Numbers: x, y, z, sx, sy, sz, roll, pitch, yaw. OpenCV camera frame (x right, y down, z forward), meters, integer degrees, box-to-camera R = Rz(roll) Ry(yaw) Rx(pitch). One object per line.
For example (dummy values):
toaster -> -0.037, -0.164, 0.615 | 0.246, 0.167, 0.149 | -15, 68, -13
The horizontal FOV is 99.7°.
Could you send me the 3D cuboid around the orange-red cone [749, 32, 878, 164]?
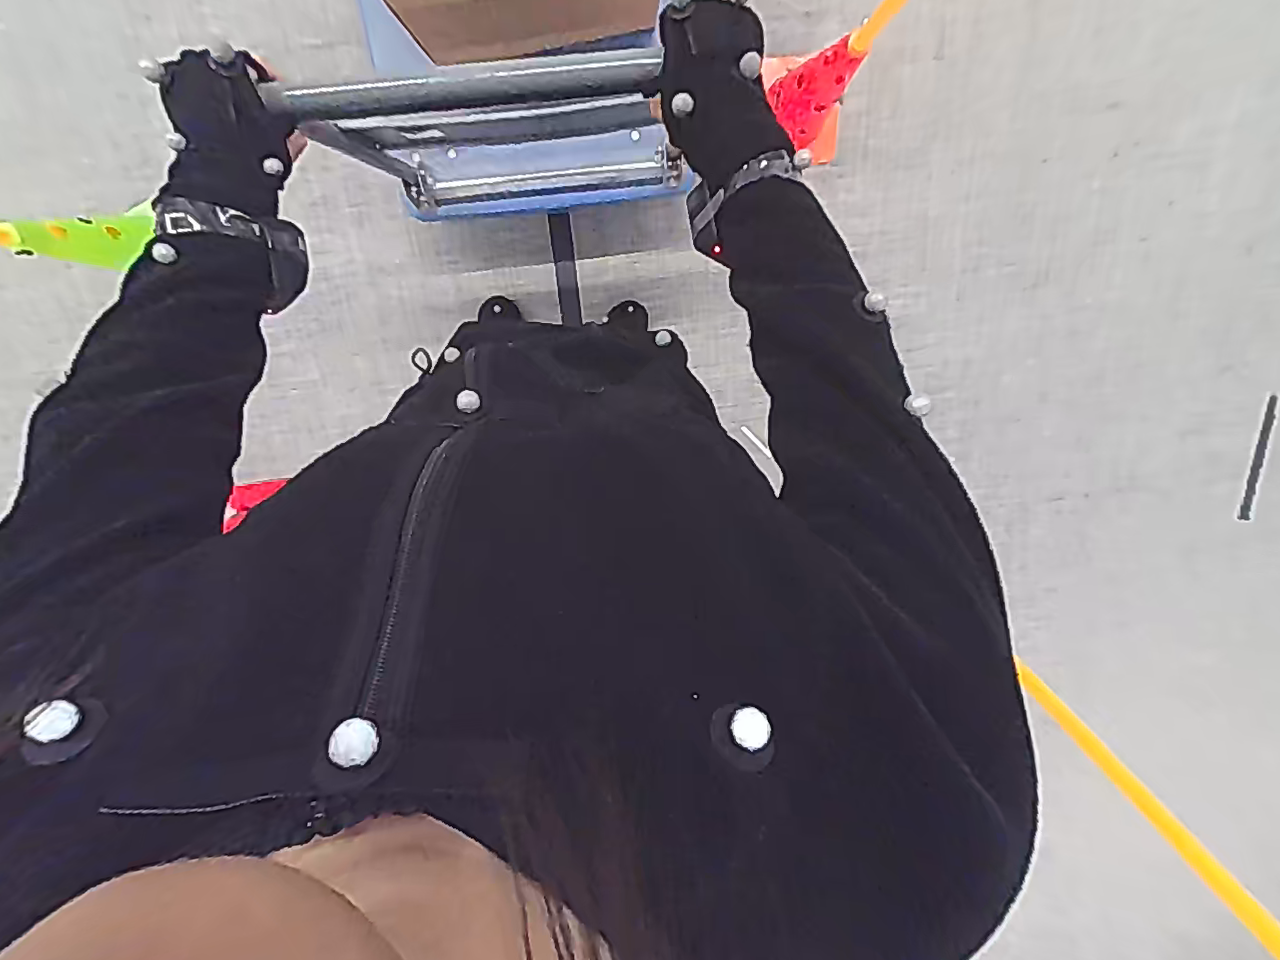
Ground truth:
orange-red cone -> 0.351, -0.742, 1.012 | 0.199, 0.360, 0.198 | 0, 110, -3
